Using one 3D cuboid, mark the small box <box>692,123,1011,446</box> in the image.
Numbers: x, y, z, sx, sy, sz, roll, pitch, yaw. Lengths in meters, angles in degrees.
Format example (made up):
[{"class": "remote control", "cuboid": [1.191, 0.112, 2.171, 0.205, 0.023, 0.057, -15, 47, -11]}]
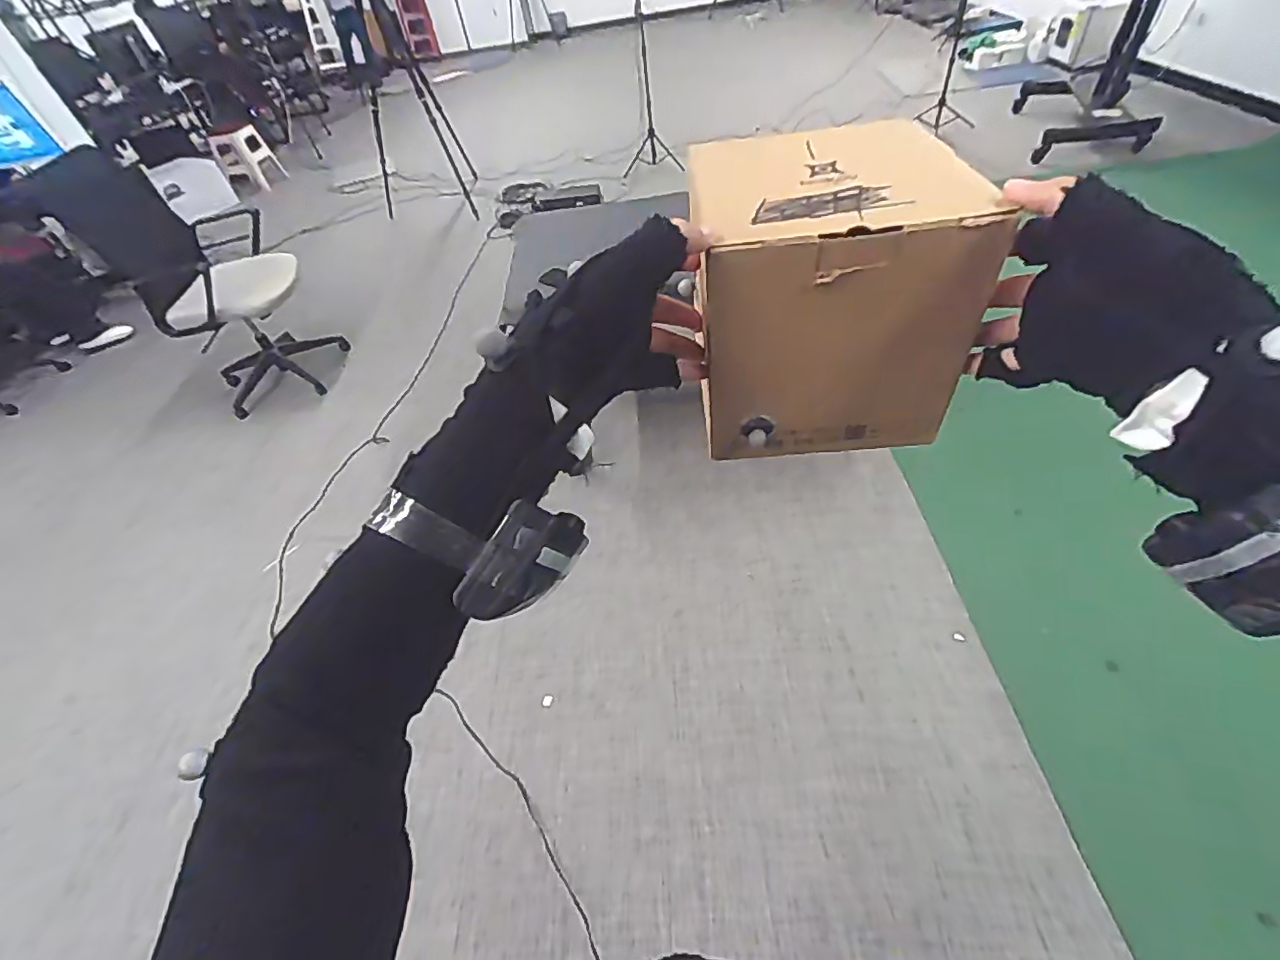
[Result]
[{"class": "small box", "cuboid": [0.128, -0.138, 0.406, 0.168, 0.176, 0.179, -4, 47, 5]}]
